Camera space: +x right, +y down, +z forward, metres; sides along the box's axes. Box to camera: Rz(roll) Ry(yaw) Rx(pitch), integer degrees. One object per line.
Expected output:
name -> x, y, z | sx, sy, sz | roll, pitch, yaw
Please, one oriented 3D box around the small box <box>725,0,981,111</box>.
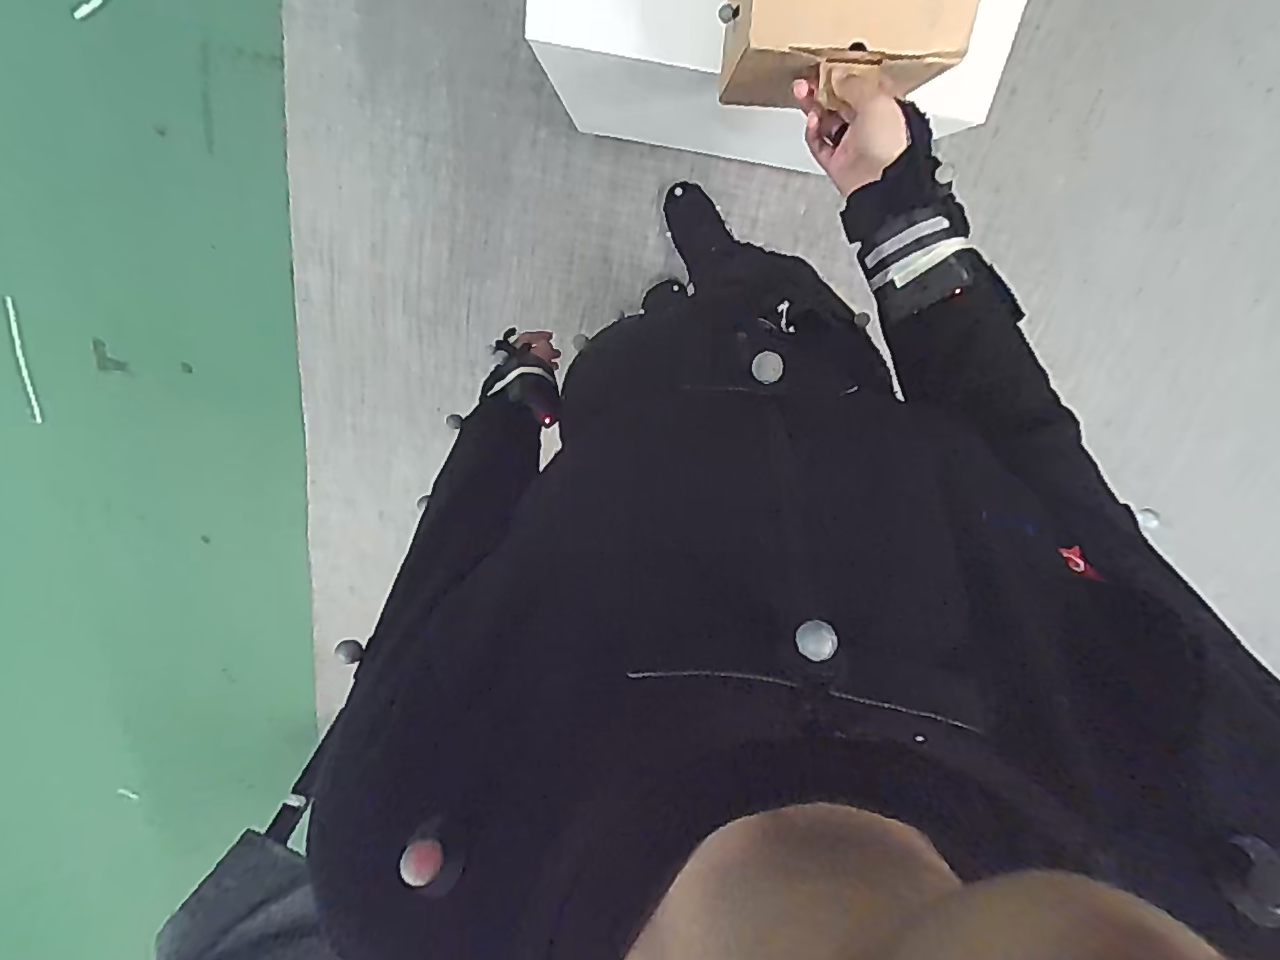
small box -> 0.168, -0.424, 0.443 | 0.168, 0.176, 0.179 | 3, 112, -1
